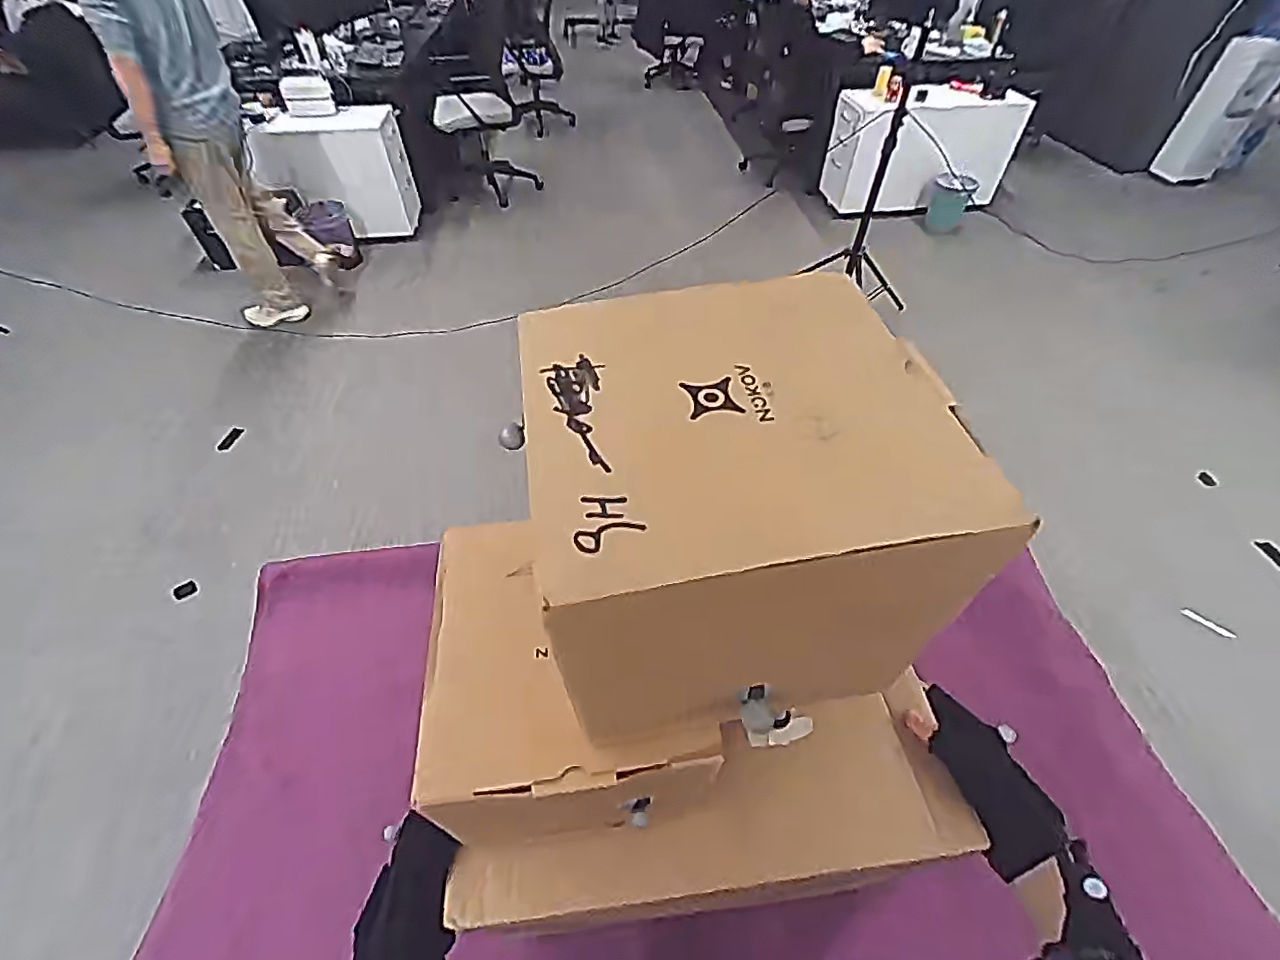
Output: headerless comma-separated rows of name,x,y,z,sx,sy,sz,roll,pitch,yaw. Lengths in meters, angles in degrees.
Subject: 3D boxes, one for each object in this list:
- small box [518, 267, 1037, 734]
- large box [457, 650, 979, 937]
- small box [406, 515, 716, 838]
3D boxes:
small box,0.038,0.014,0.284,0.179,0.176,0.168,-8,50,-6
large box,0.043,0.272,0.600,0.408,0.320,0.320,-5,50,-6
small box,-0.051,0.140,0.392,0.168,0.176,0.179,-6,48,-7
